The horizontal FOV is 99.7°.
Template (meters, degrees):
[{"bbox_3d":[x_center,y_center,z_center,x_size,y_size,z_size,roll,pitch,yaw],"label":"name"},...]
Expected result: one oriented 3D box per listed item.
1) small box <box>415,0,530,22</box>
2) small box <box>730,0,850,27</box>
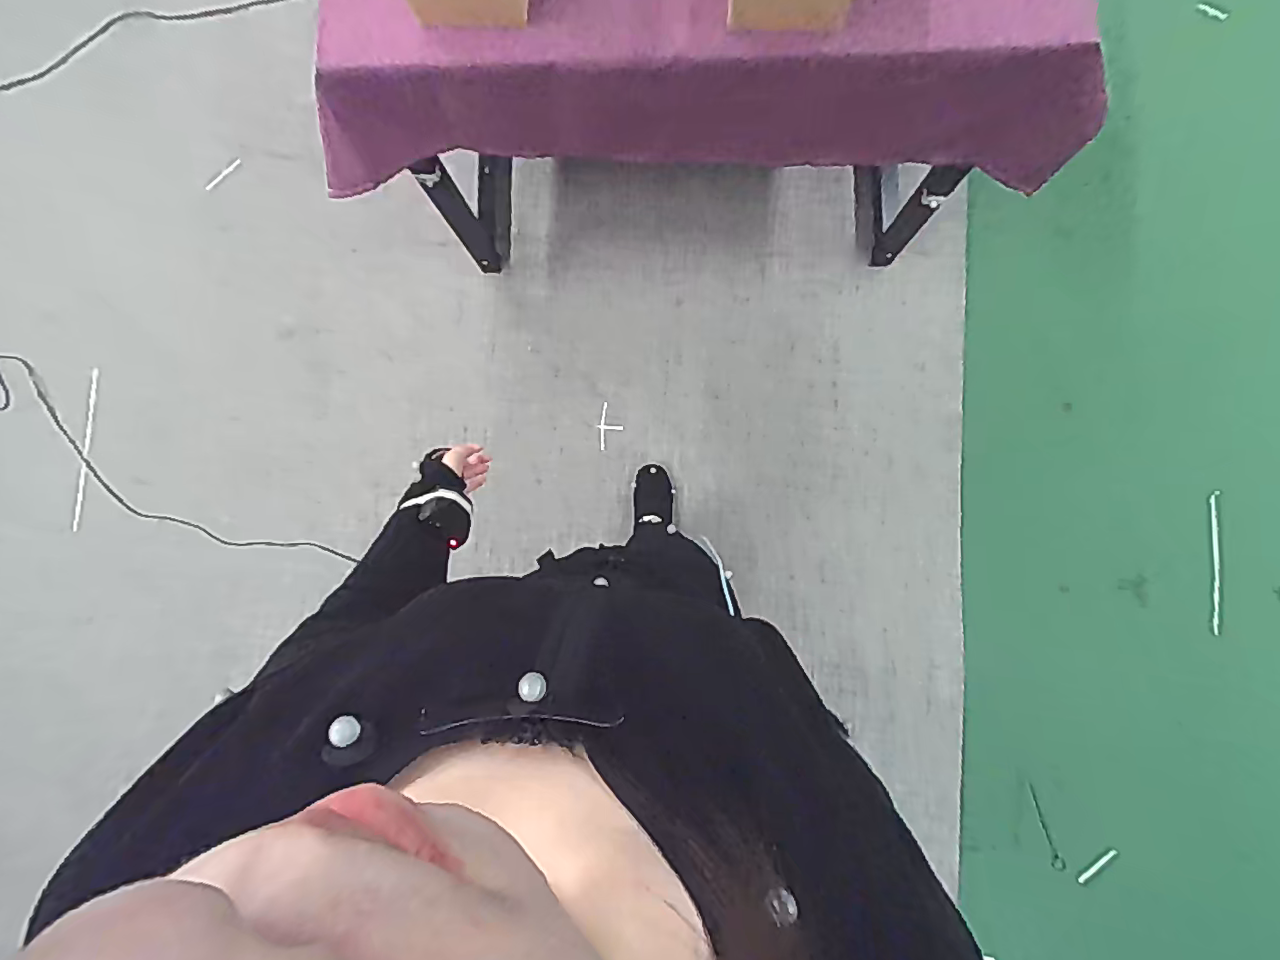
[{"bbox_3d":[-0.259,-0.805,0.774,0.179,0.176,0.168,4,86,3],"label":"small box"},{"bbox_3d":[0.226,-0.776,0.751,0.179,0.176,0.168,3,85,4],"label":"small box"}]
